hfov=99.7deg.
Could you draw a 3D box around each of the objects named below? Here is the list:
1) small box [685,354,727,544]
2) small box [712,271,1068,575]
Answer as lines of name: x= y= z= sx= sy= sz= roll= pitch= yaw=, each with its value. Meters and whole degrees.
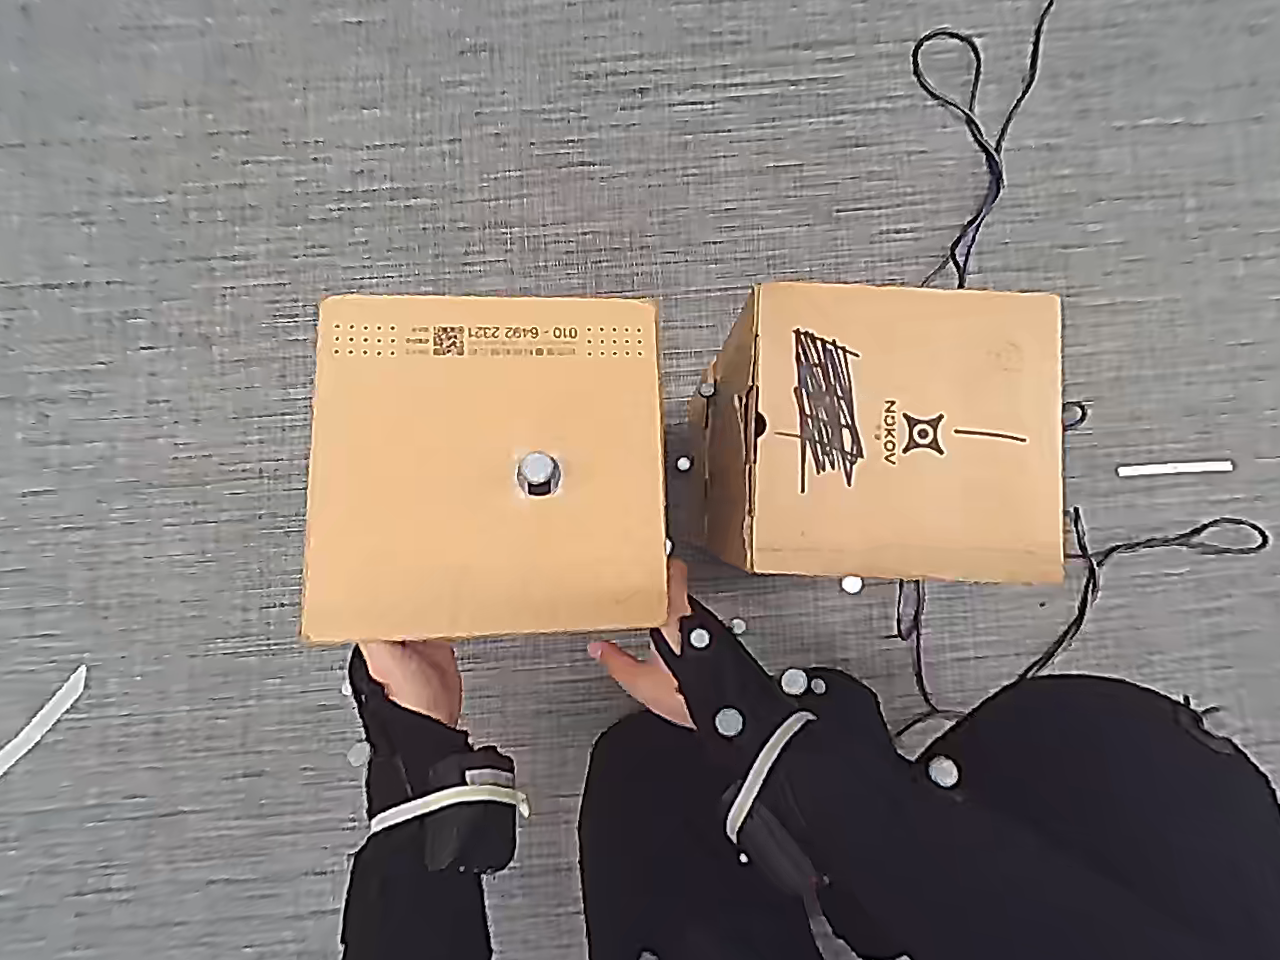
small box: x=0.144 y=-0.019 z=0.542 sx=0.179 sy=0.176 sz=0.168 roll=2 pitch=85 yaw=0
small box: x=0.148 y=-0.027 z=0.378 sx=0.179 sy=0.176 sz=0.168 roll=3 pitch=86 yaw=-1
